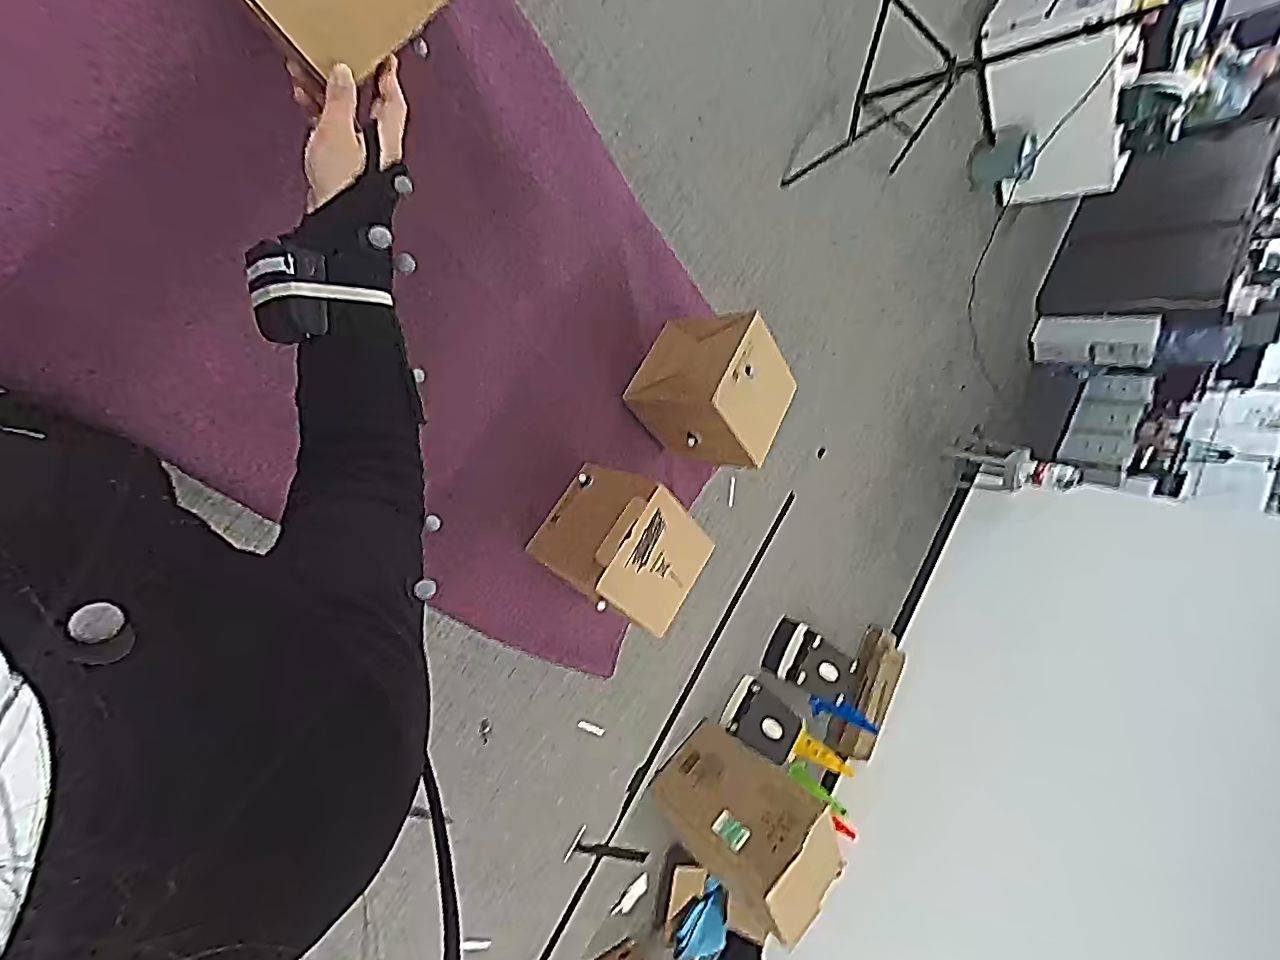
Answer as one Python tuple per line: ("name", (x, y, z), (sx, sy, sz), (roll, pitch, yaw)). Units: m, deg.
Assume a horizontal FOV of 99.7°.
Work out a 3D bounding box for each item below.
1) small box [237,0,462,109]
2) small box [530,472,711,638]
("small box", (-0.236, -0.417, 0.400), (0.176, 0.168, 0.179), (-43, 132, -1))
("small box", (-0.031, 0.104, 0.809), (0.168, 0.176, 0.179), (-56, 132, -17))
